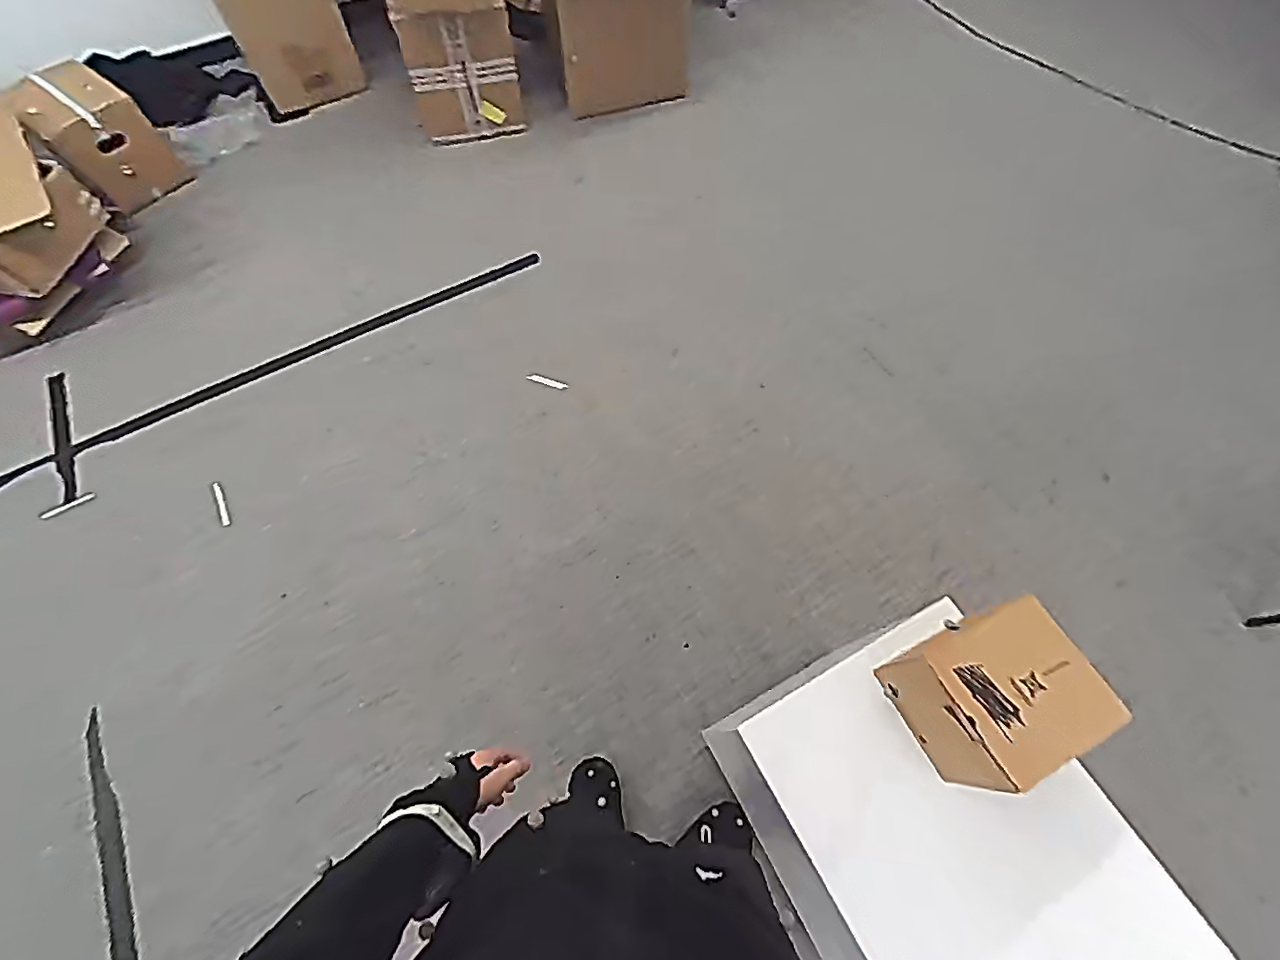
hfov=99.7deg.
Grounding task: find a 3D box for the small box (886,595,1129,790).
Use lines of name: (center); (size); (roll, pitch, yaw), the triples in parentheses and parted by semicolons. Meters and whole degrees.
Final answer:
small box: (0.456, 0.279, 0.712); (0.179, 0.176, 0.168); (-25, 67, -11)
